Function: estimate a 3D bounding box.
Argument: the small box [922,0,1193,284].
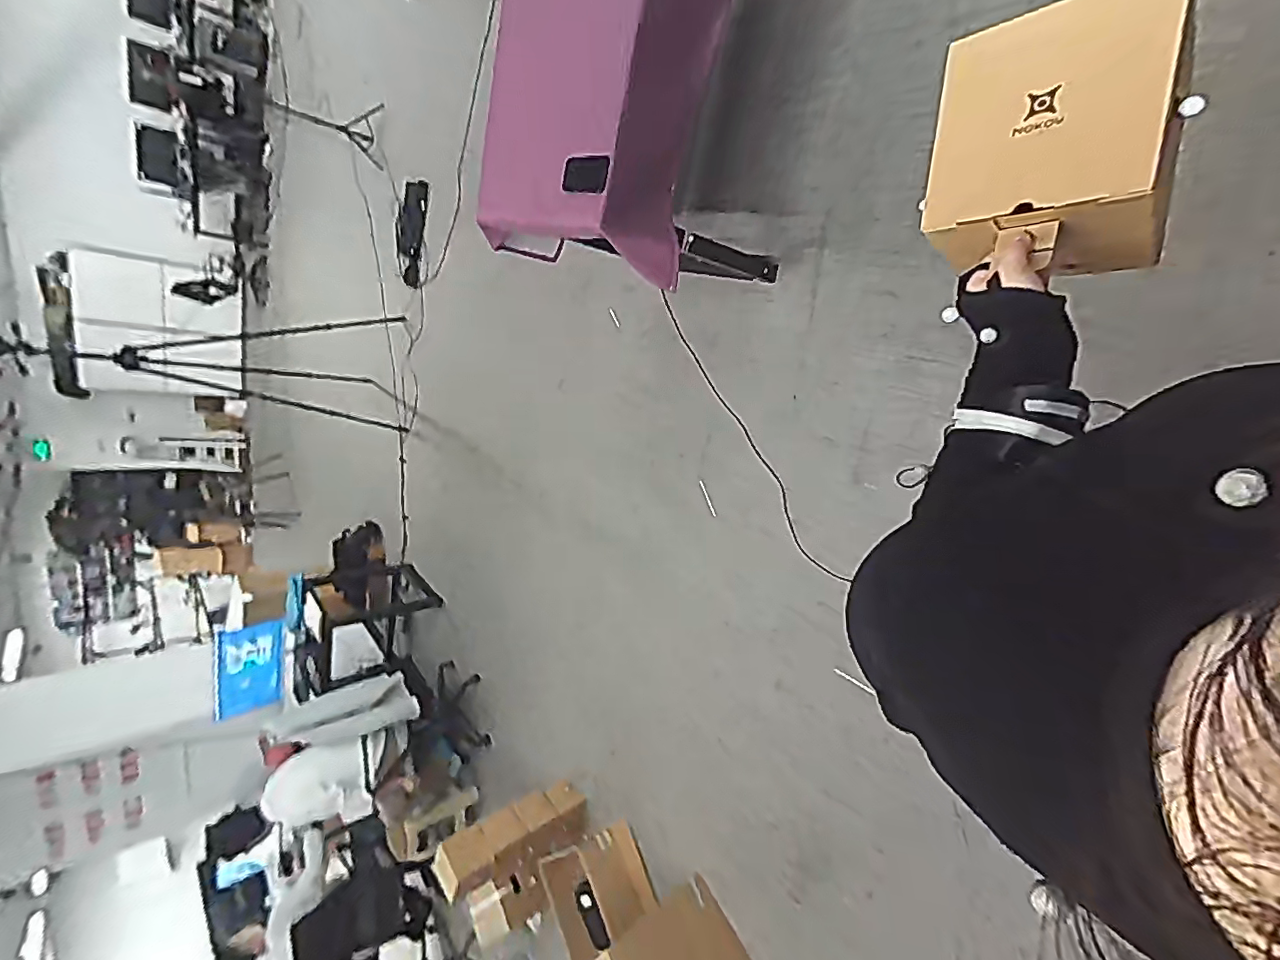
[{"bbox_3d":[0.394,-0.307,0.516,0.168,0.176,0.179,10,95,43],"label":"small box"}]
